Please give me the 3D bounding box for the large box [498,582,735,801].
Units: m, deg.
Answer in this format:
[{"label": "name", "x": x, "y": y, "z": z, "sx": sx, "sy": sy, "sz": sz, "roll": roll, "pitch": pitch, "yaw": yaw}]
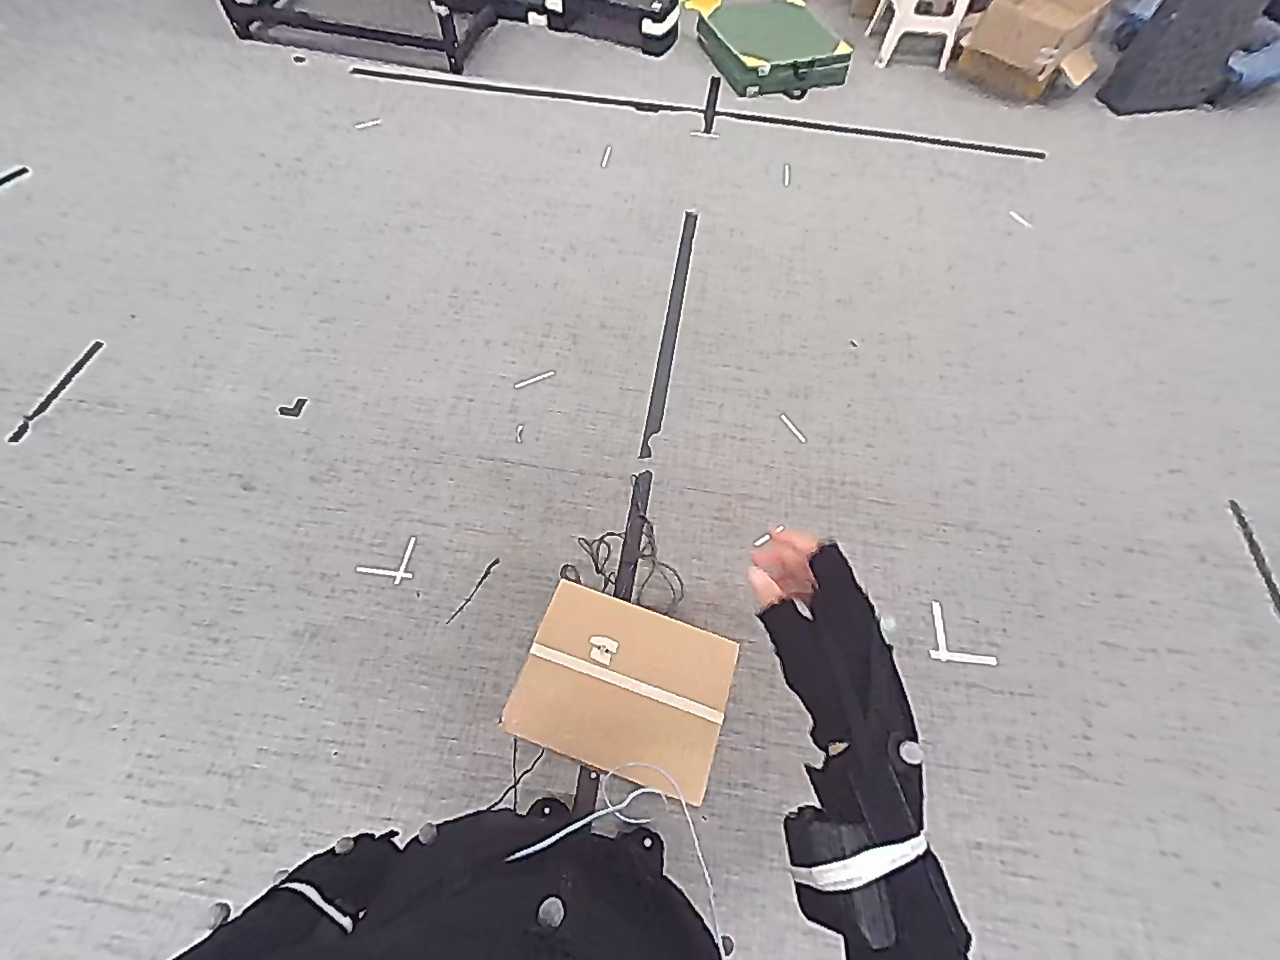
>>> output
[{"label": "large box", "x": -0.044, "y": 0.475, "z": 1.205, "sx": 0.408, "sy": 0.320, "sz": 0.320, "roll": 19, "pitch": 60, "yaw": 6}]
